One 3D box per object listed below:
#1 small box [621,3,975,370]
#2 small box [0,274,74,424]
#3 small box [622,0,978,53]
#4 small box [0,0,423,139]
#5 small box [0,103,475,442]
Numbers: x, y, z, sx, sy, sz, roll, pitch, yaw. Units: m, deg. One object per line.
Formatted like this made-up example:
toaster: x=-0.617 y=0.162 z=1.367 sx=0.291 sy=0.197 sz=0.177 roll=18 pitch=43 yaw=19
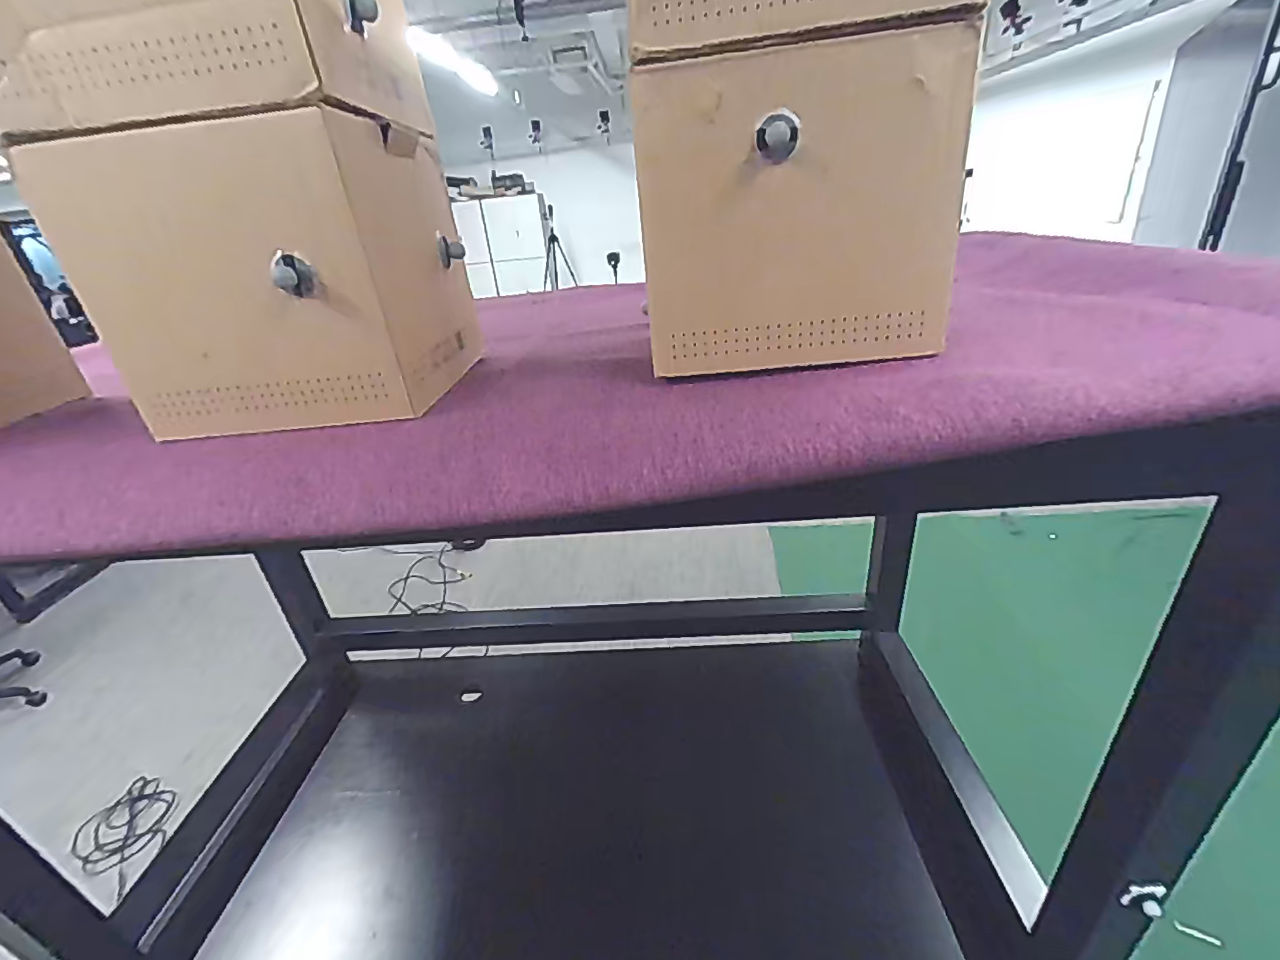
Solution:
small box: x=0.090 y=-0.177 z=0.369 sx=0.179 sy=0.176 sz=0.168 roll=-3 pitch=25 yaw=6
small box: x=-0.573 y=-0.101 z=0.367 sx=0.168 sy=0.176 sz=0.179 roll=-4 pitch=28 yaw=2
small box: x=0.076 y=-0.326 z=0.300 sx=0.179 sy=0.176 sz=0.168 roll=-4 pitch=25 yaw=7
small box: x=-0.251 y=-0.283 z=0.300 sx=0.179 sy=0.176 sz=0.168 roll=-6 pitch=27 yaw=2
small box: x=-0.232 y=-0.137 z=0.371 sx=0.179 sy=0.176 sz=0.168 roll=-6 pitch=27 yaw=3
